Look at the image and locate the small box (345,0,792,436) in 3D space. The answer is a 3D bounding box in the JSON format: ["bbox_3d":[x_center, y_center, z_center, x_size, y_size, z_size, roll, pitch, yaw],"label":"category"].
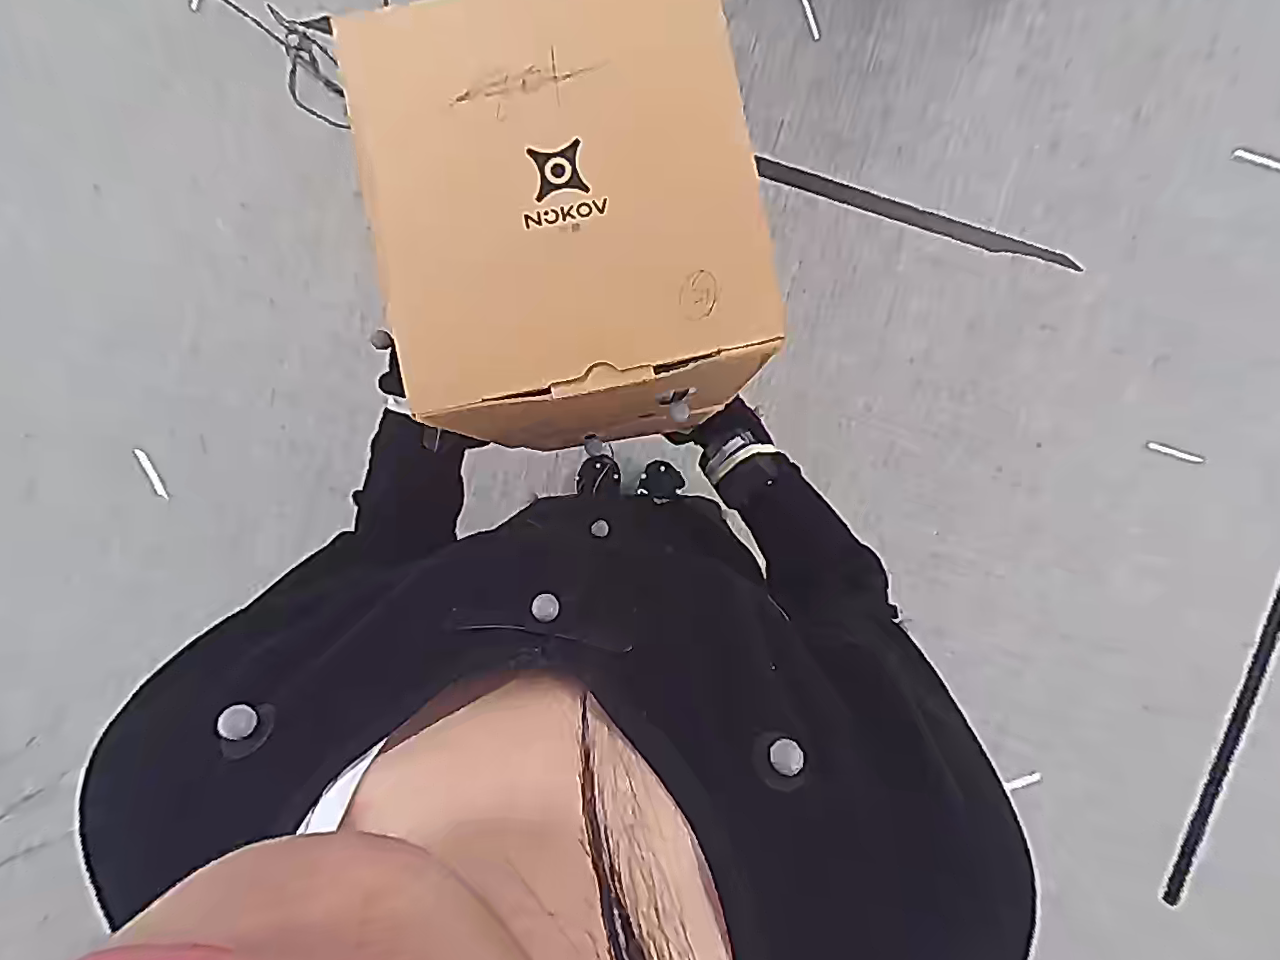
[{"bbox_3d":[-0.030,-0.125,0.310,0.168,0.176,0.179,-12,89,-1],"label":"small box"}]

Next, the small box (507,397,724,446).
[{"bbox_3d":[-0.029,-0.125,0.471,0.168,0.176,0.179,-9,90,0],"label":"small box"}]
